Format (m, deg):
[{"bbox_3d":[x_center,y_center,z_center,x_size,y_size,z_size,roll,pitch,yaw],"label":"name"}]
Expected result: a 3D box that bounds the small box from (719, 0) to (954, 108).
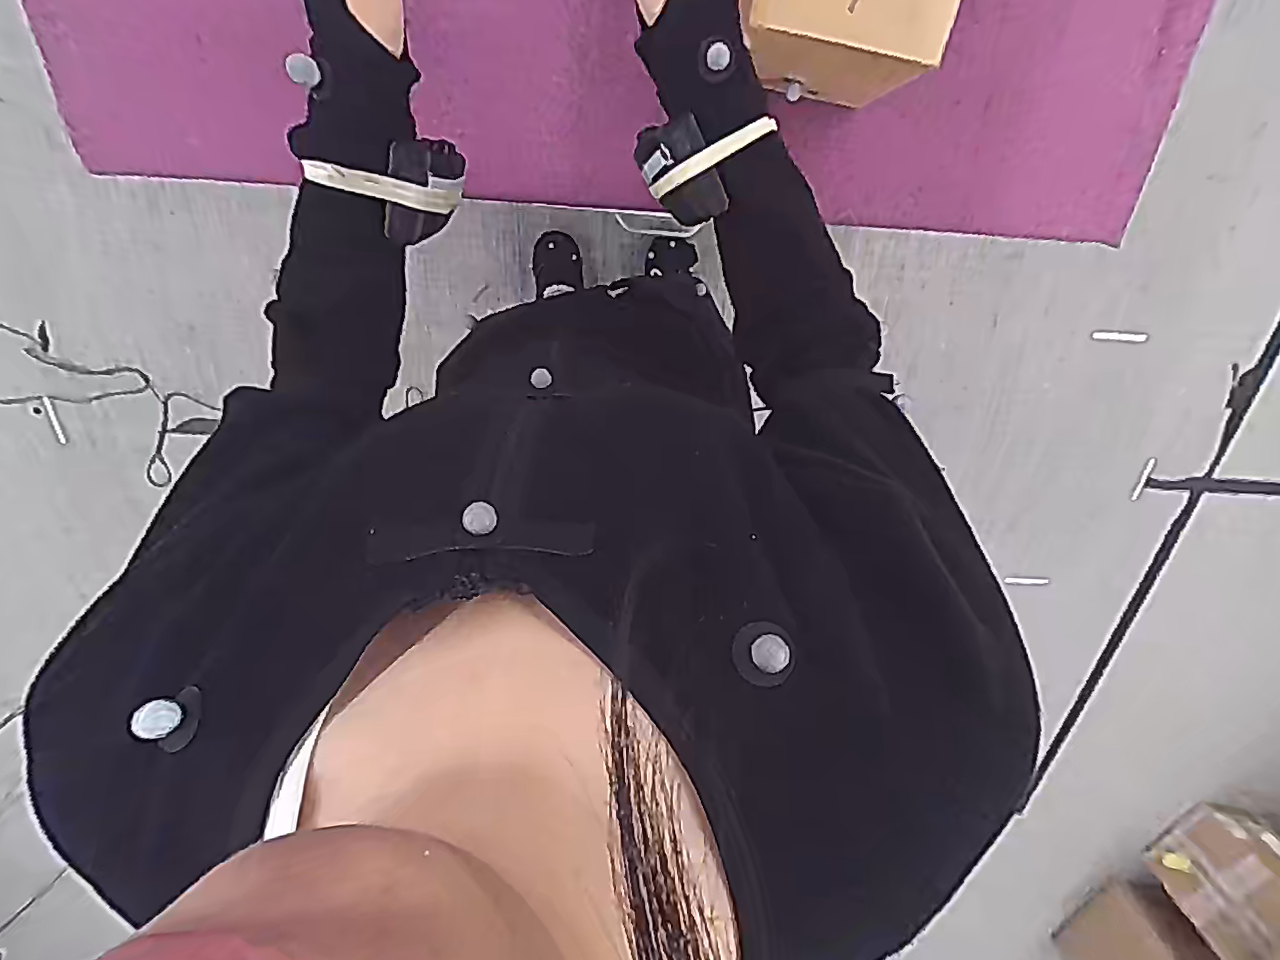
[{"bbox_3d":[0.176,-0.466,0.481,0.168,0.176,0.179,9,114,-6],"label":"small box"}]
